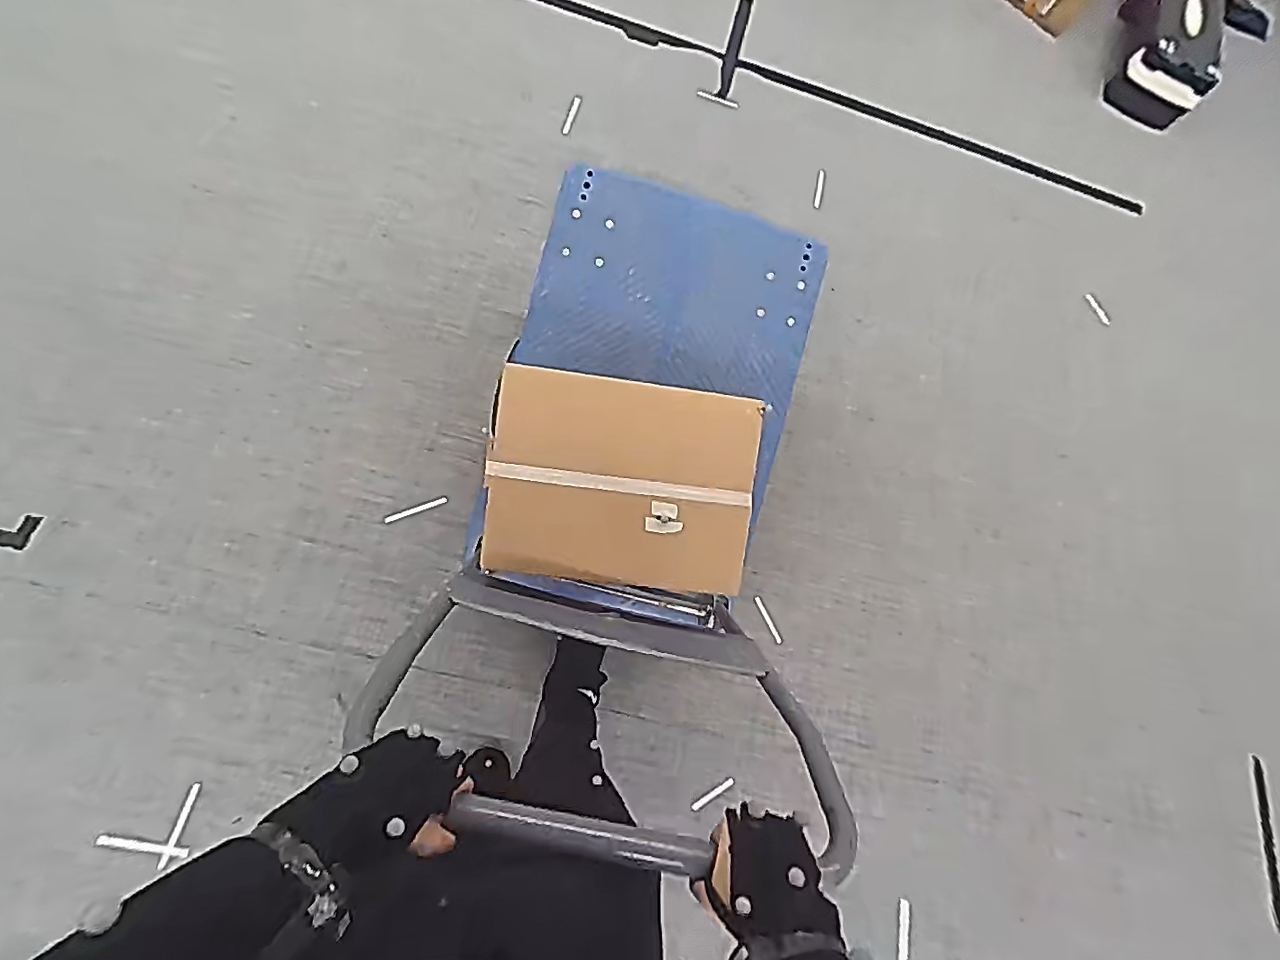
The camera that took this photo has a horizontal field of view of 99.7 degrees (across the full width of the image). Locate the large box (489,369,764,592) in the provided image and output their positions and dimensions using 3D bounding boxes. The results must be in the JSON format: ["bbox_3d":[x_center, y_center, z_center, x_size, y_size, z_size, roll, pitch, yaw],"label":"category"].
[{"bbox_3d":[-0.036,-0.001,0.981,0.408,0.320,0.320,7,93,-7],"label":"large box"}]
